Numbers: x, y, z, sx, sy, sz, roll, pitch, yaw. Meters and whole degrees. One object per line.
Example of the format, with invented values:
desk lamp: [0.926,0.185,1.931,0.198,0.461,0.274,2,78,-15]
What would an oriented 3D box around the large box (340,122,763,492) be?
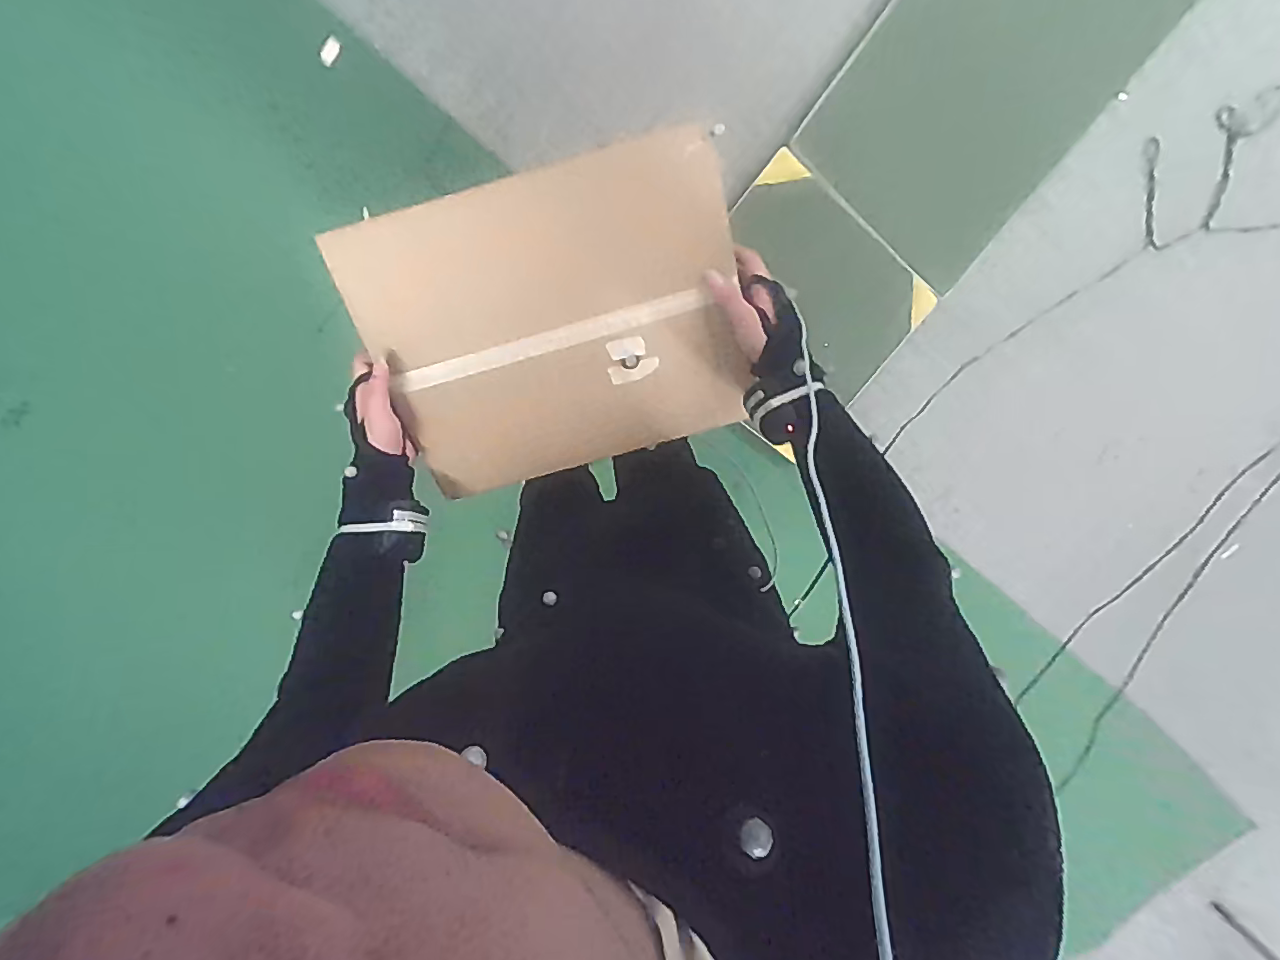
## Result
large box: [-0.091,-0.229,0.733,0.408,0.320,0.320,-15,117,1]
